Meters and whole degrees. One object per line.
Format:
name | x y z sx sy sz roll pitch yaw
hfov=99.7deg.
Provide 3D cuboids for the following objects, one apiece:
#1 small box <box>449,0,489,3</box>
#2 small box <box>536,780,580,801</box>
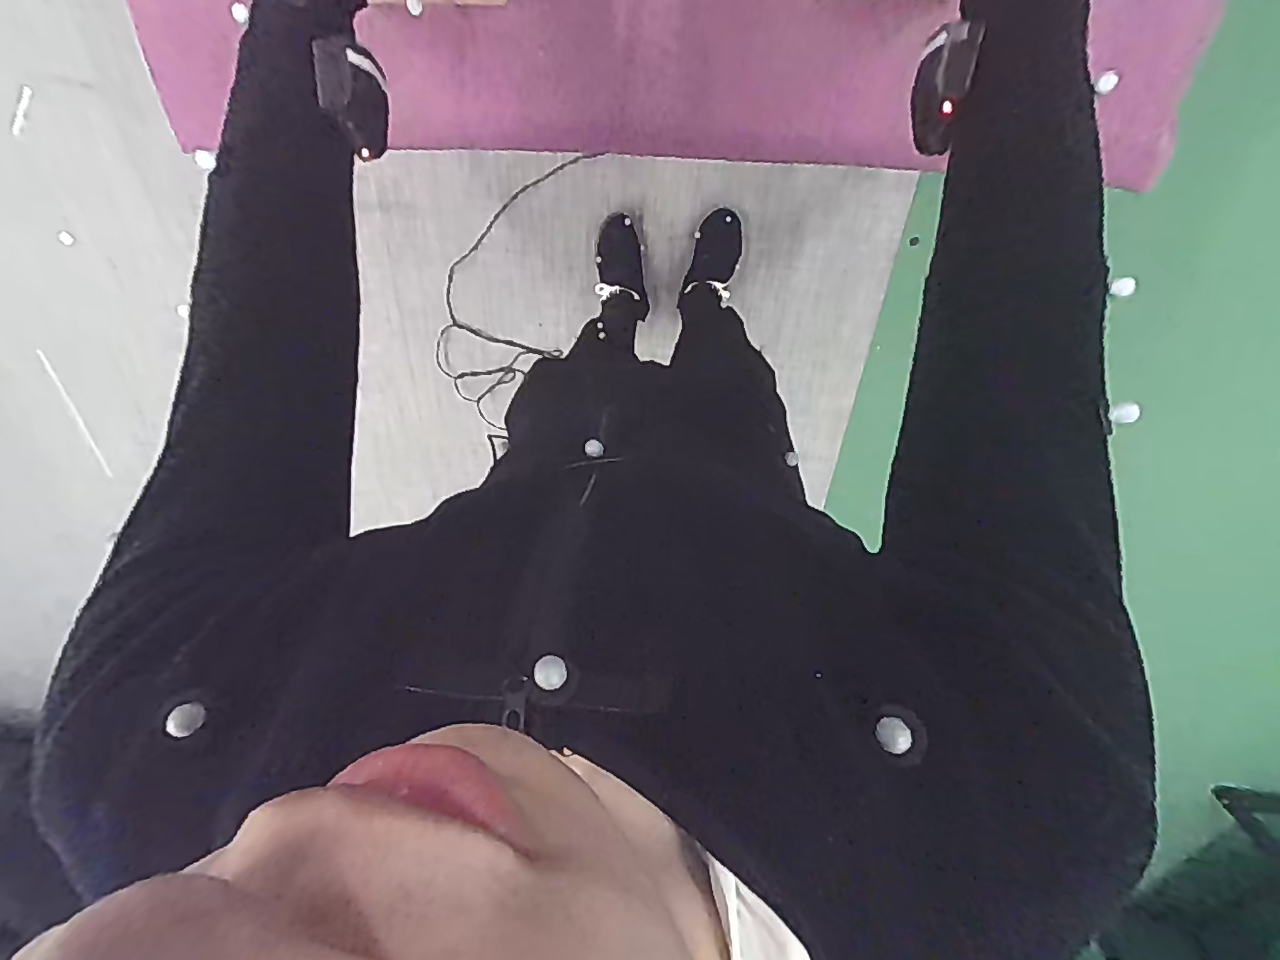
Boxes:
small box | -0.236 -0.571 0.493 0.168 0.176 0.179 3 123 2
small box | -0.319 1.261 2.027 0.168 0.176 0.179 6 121 -1
